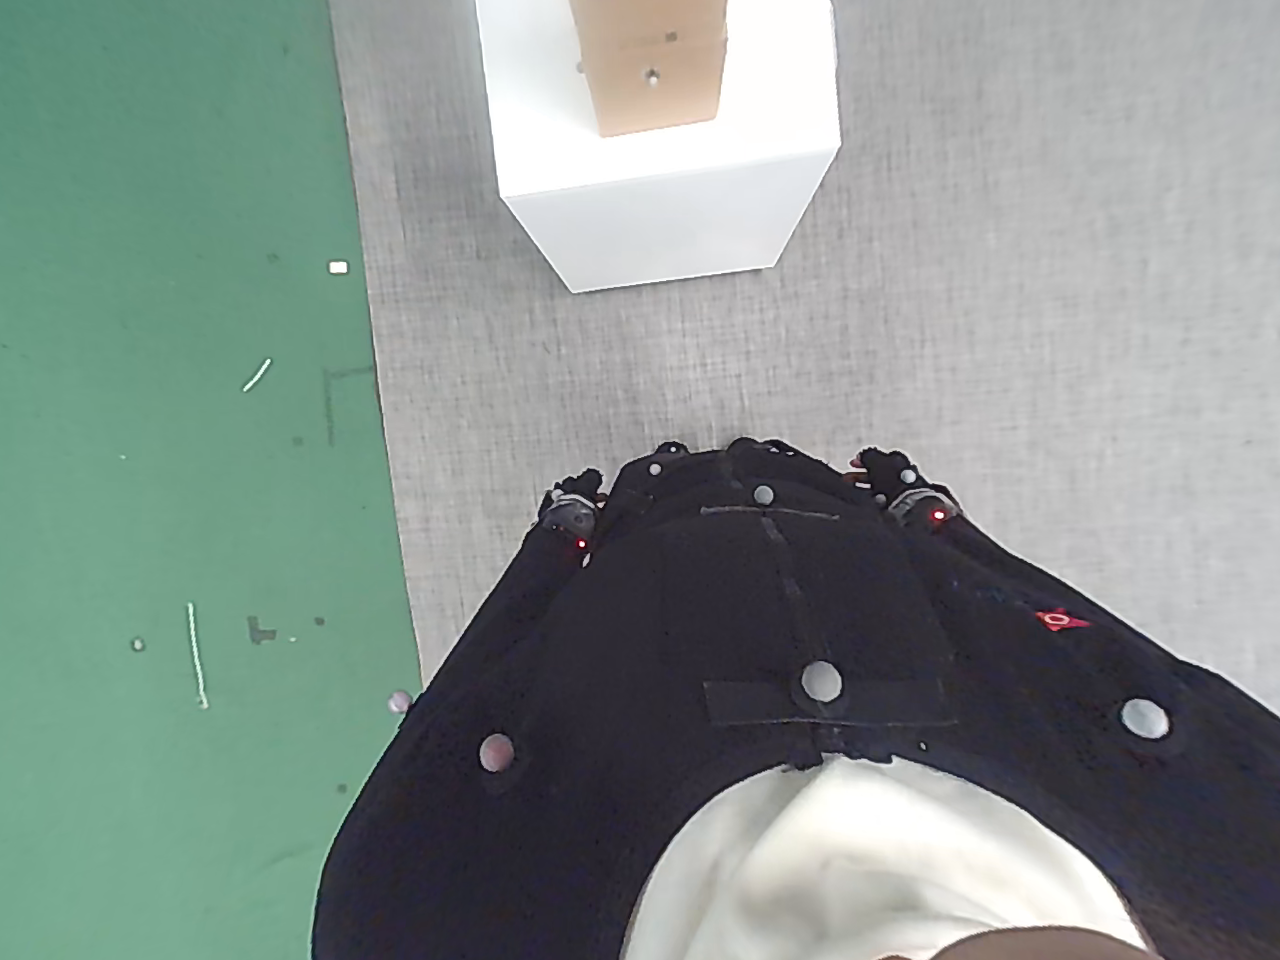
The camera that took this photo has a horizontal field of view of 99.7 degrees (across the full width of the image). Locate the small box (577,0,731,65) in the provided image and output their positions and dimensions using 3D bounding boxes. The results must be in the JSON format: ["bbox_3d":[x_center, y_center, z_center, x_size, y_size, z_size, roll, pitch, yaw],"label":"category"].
[{"bbox_3d":[0.006,-0.584,0.557,0.168,0.176,0.179,-7,95,4],"label":"small box"}]

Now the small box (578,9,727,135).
[{"bbox_3d":[0.016,-0.592,0.718,0.179,0.176,0.168,-6,94,4],"label":"small box"}]
